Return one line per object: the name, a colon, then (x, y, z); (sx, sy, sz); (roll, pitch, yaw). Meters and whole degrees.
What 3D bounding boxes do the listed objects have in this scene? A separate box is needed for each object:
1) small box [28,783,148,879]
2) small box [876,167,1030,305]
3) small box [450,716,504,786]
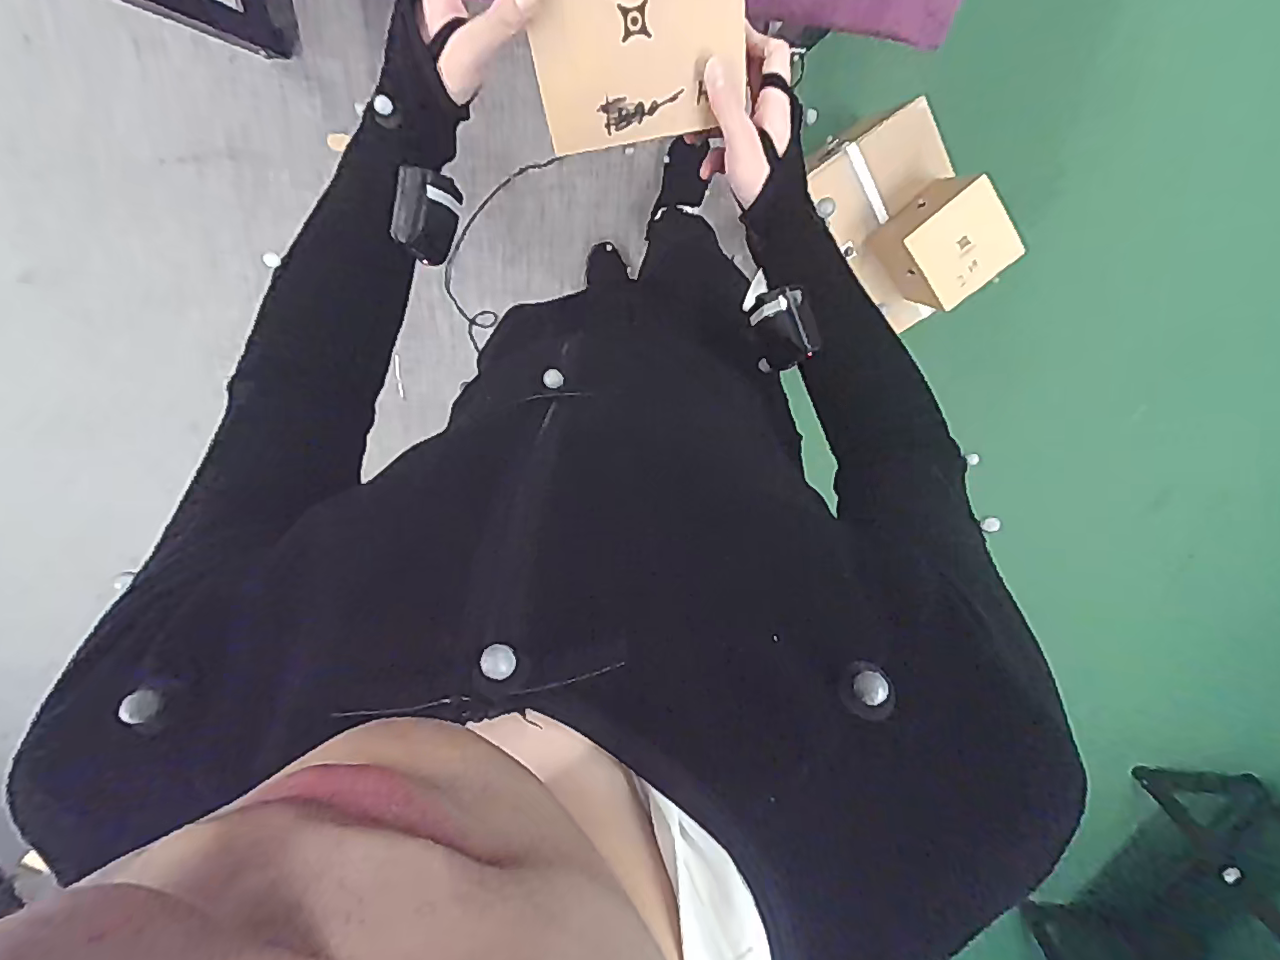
small box: (-1.675, 1.069, 1.654); (0.179, 0.176, 0.168); (-39, 111, 18)
small box: (0.600, -0.473, 1.059); (0.168, 0.176, 0.179); (-39, 111, 17)
small box: (-0.643, 1.075, 2.141); (0.168, 0.176, 0.179); (9, 116, -1)
